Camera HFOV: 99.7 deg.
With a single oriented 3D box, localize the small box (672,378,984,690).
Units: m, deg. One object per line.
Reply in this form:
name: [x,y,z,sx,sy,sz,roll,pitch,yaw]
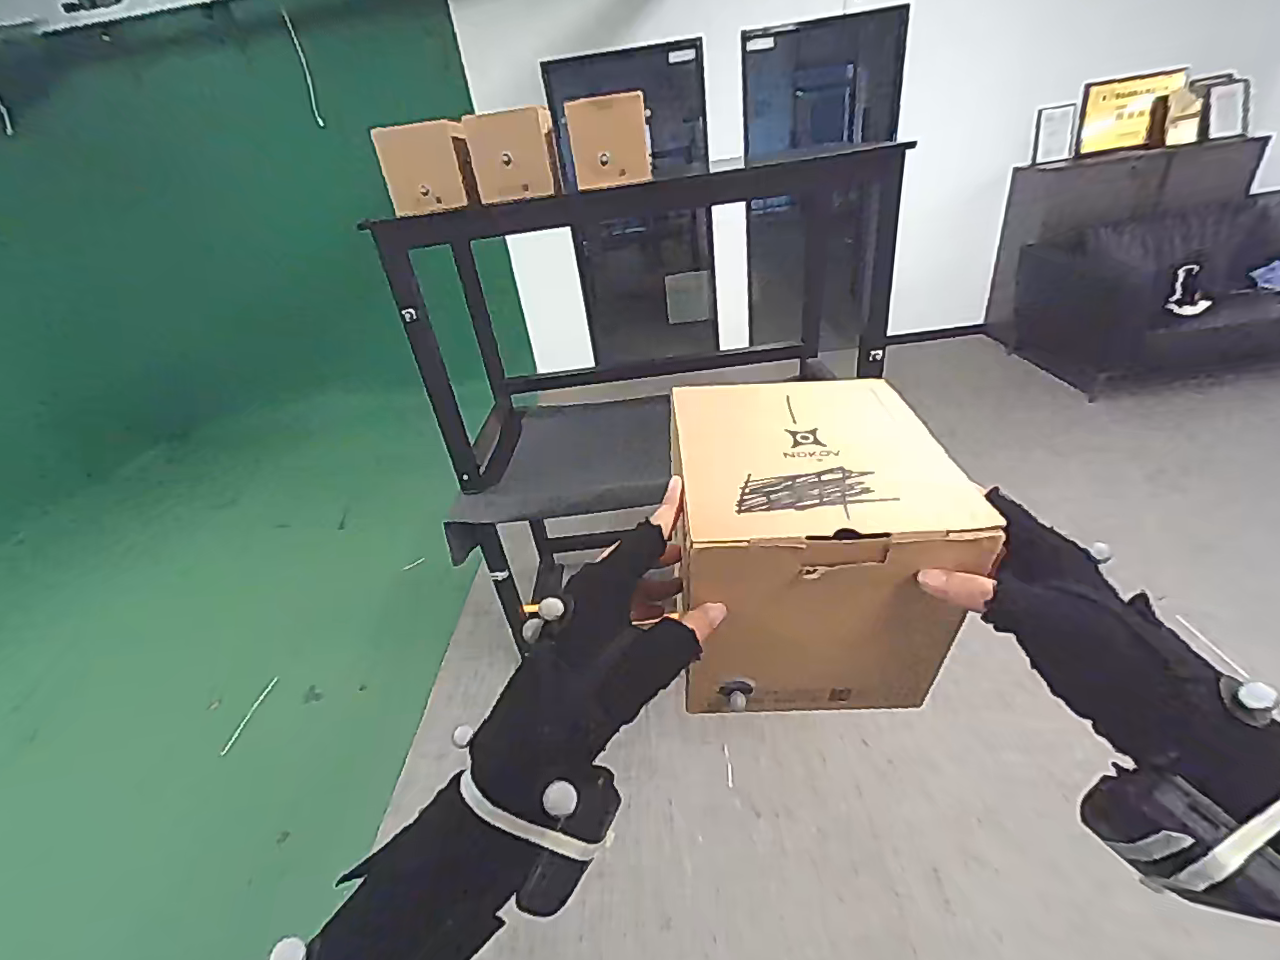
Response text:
small box: [0.111,0.040,0.407,0.168,0.176,0.179,-2,36,1]
